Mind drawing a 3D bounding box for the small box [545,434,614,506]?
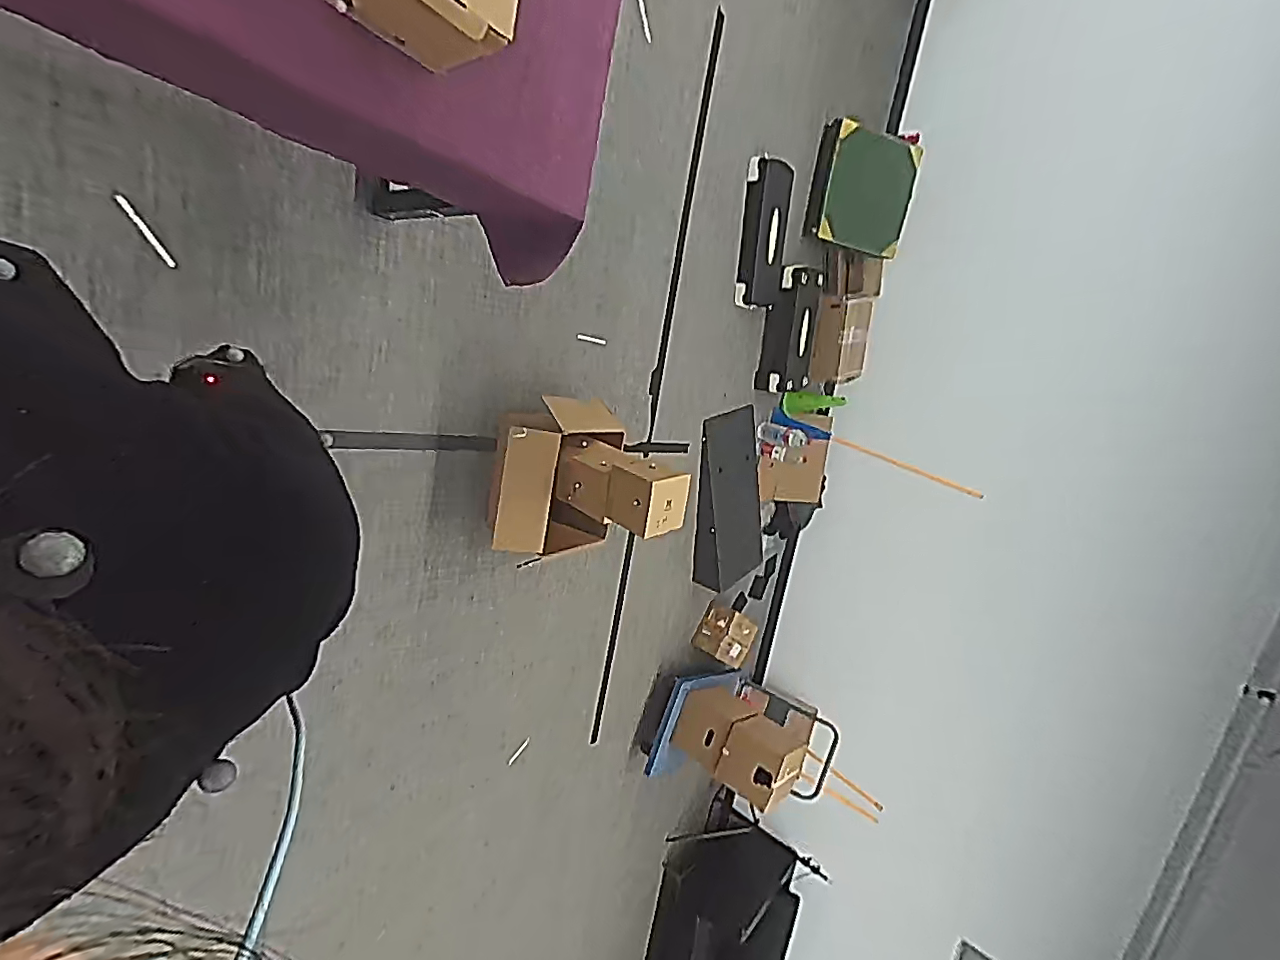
[{"bbox_3d":[-0.204,-0.043,1.818,0.168,0.176,0.179,-28,129,-37],"label":"small box"}]

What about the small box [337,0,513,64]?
[{"bbox_3d":[-0.250,-0.614,0.604,0.168,0.176,0.179,1,103,-52],"label":"small box"}]

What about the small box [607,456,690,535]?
[{"bbox_3d":[0.021,0.036,1.588,0.168,0.176,0.179,-12,118,-44],"label":"small box"}]
